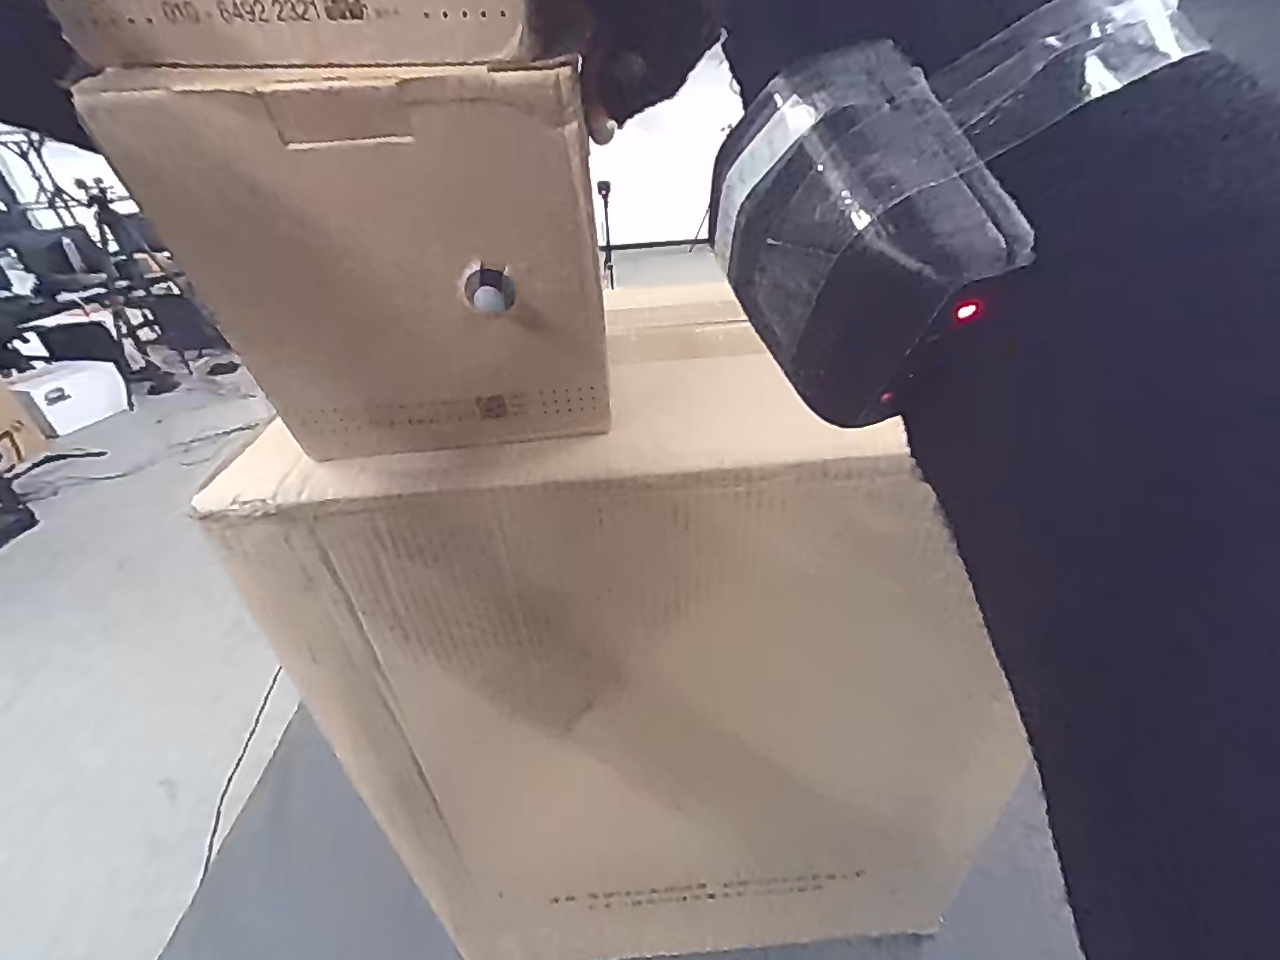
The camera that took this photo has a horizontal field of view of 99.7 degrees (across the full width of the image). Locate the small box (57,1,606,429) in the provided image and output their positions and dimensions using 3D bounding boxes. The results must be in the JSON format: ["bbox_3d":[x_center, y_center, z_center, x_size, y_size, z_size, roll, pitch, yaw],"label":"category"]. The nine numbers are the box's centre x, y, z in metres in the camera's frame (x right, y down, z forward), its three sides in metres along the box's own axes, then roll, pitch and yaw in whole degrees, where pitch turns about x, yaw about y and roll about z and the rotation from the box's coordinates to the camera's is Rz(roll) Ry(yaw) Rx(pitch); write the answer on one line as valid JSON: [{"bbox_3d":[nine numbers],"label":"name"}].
[{"bbox_3d":[-0.113,-0.141,0.289,0.168,0.176,0.179,-8,48,-5],"label":"small box"}]
